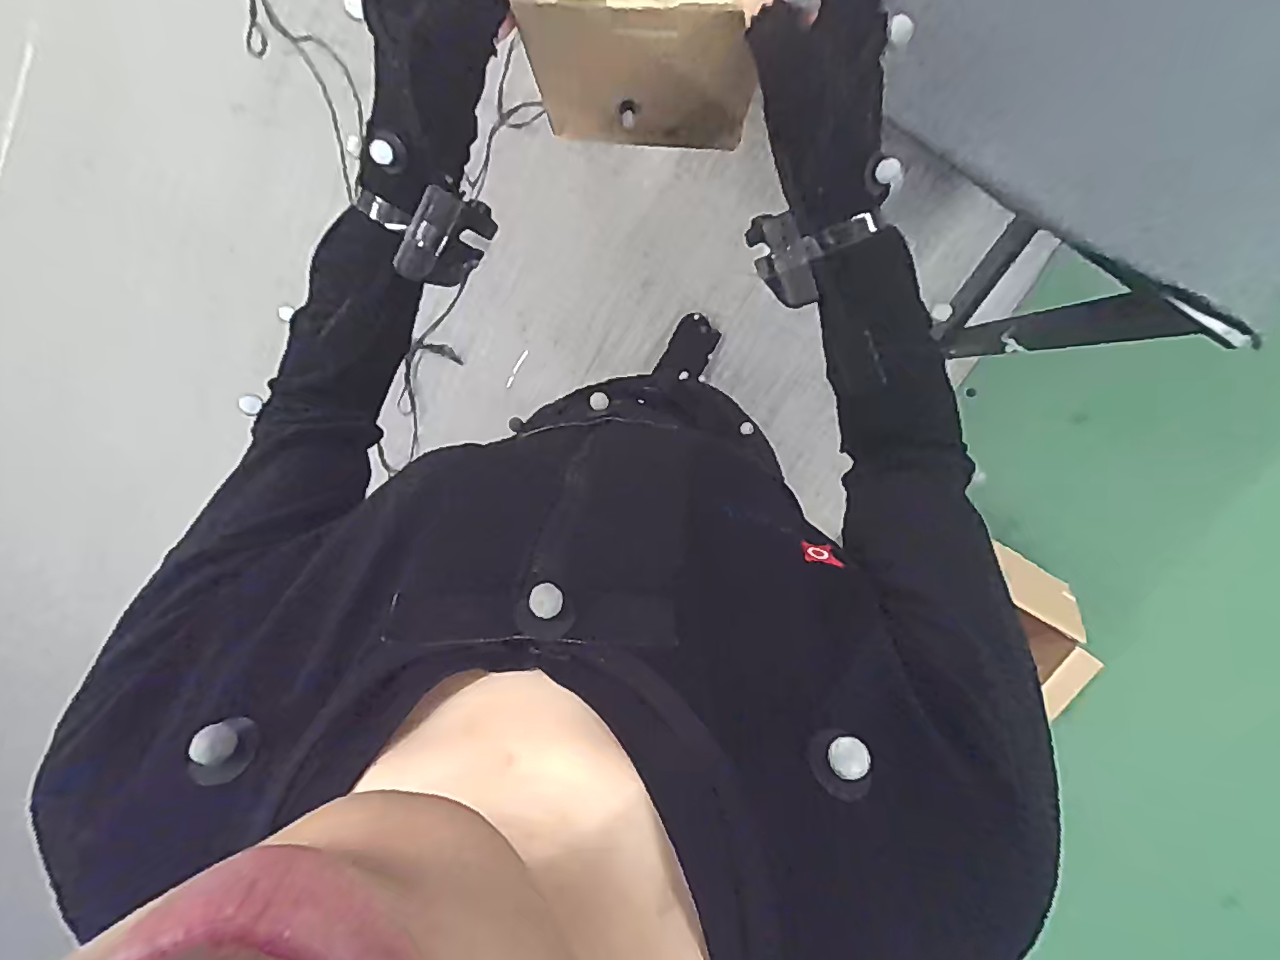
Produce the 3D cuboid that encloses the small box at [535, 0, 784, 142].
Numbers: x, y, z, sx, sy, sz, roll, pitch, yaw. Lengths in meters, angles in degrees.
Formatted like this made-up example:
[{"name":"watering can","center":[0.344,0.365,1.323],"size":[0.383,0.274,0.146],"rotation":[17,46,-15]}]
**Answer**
[{"name":"small box","center":[0.016,-0.389,0.399],"size":[0.168,0.176,0.179],"rotation":[5,97,1]}]
